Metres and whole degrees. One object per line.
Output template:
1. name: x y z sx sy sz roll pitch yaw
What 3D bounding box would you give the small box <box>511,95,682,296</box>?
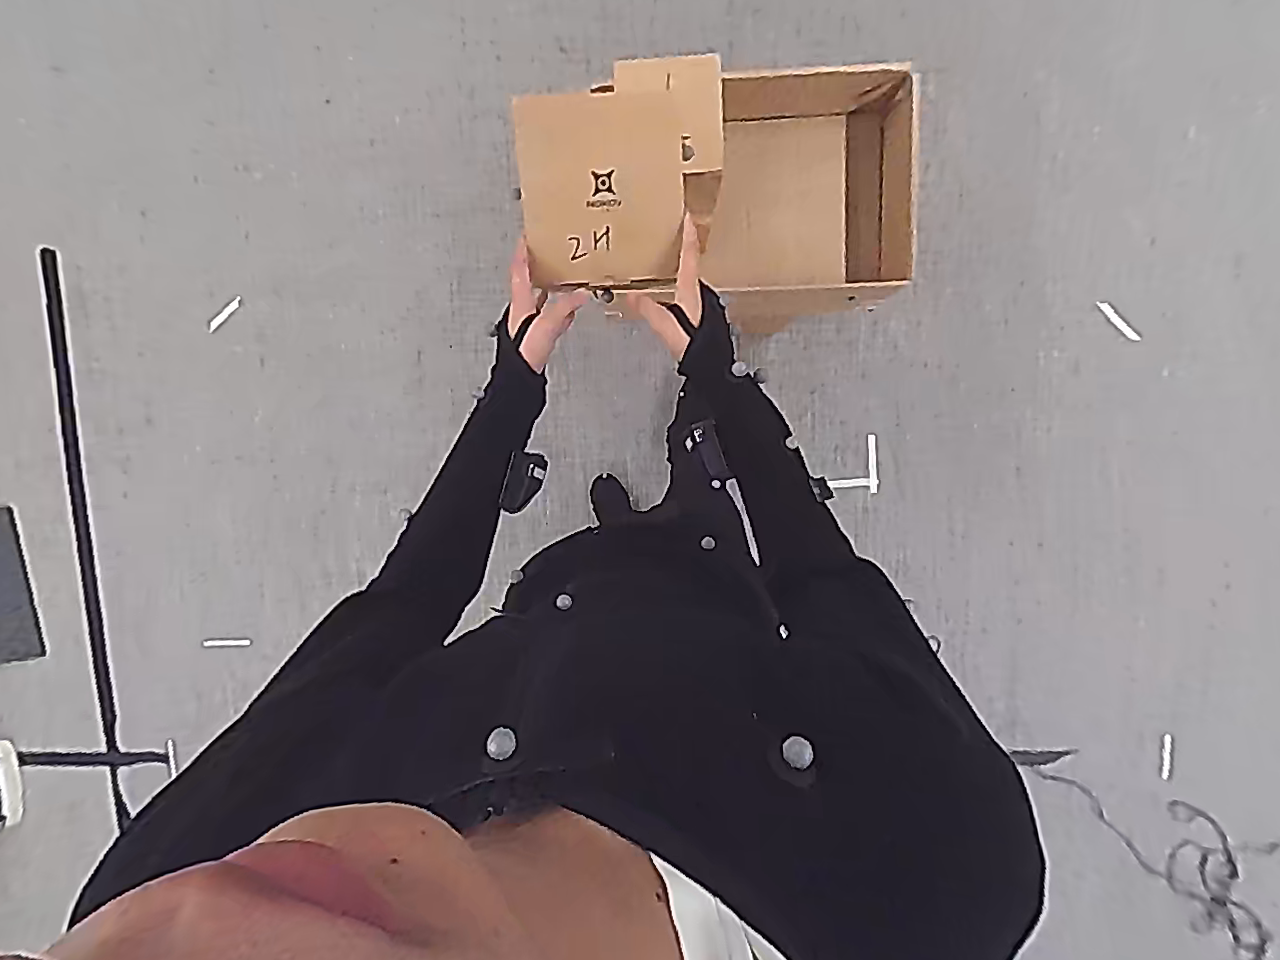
1. small box: -0.046 -0.308 0.619 0.168 0.176 0.179 -4 108 -2

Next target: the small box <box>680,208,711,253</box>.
1. small box: 0.049 -0.565 1.071 0.168 0.176 0.179 -3 96 3

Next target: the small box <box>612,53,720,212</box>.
1. small box: 0.045 -0.563 0.907 0.168 0.176 0.179 -2 95 2
